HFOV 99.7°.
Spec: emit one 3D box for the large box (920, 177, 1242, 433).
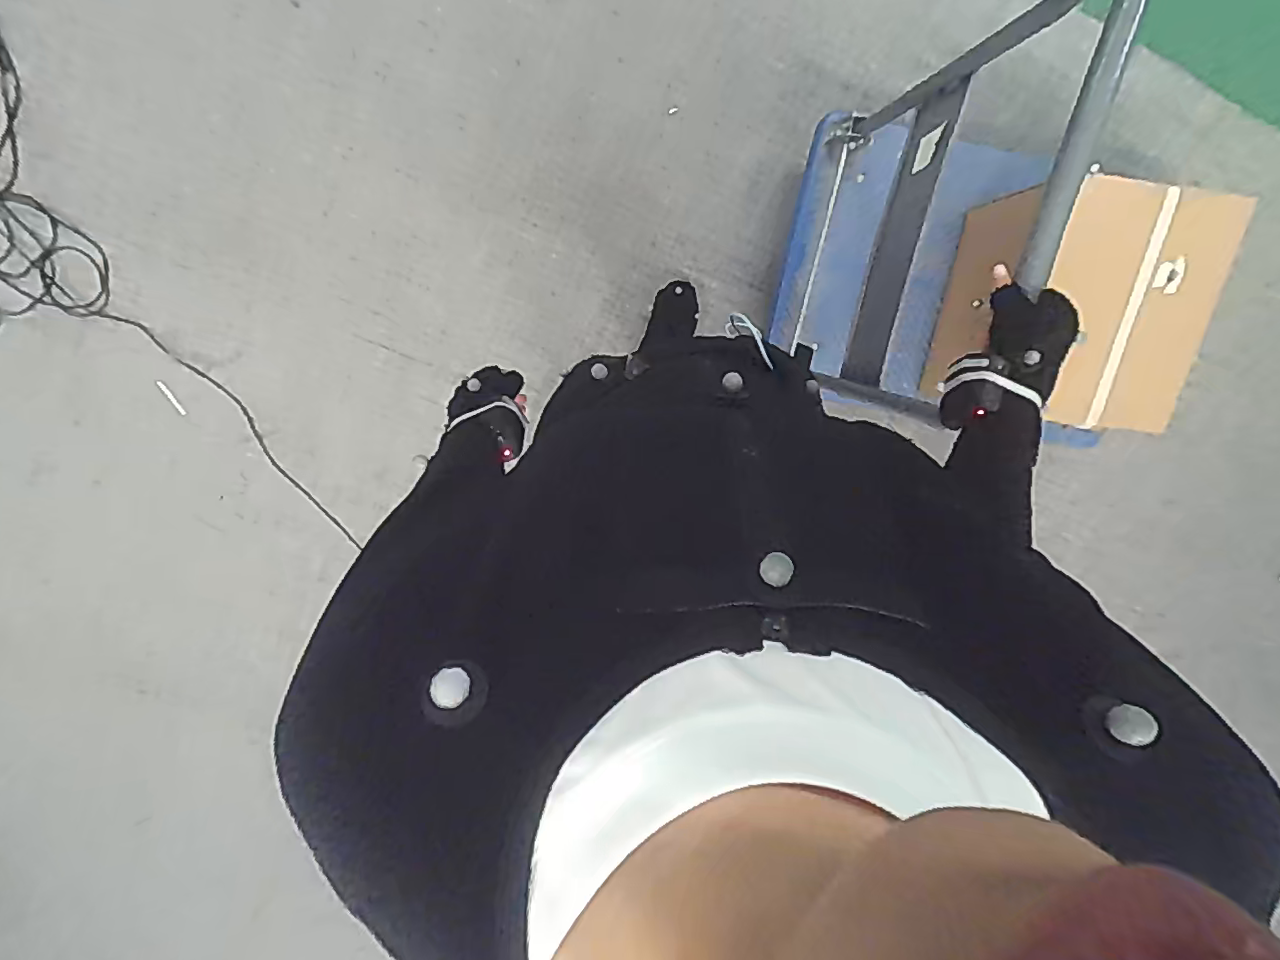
[{"bbox_3d":[0.828,-0.328,1.086,0.320,0.320,0.408,6,105,-5],"label":"large box"}]
